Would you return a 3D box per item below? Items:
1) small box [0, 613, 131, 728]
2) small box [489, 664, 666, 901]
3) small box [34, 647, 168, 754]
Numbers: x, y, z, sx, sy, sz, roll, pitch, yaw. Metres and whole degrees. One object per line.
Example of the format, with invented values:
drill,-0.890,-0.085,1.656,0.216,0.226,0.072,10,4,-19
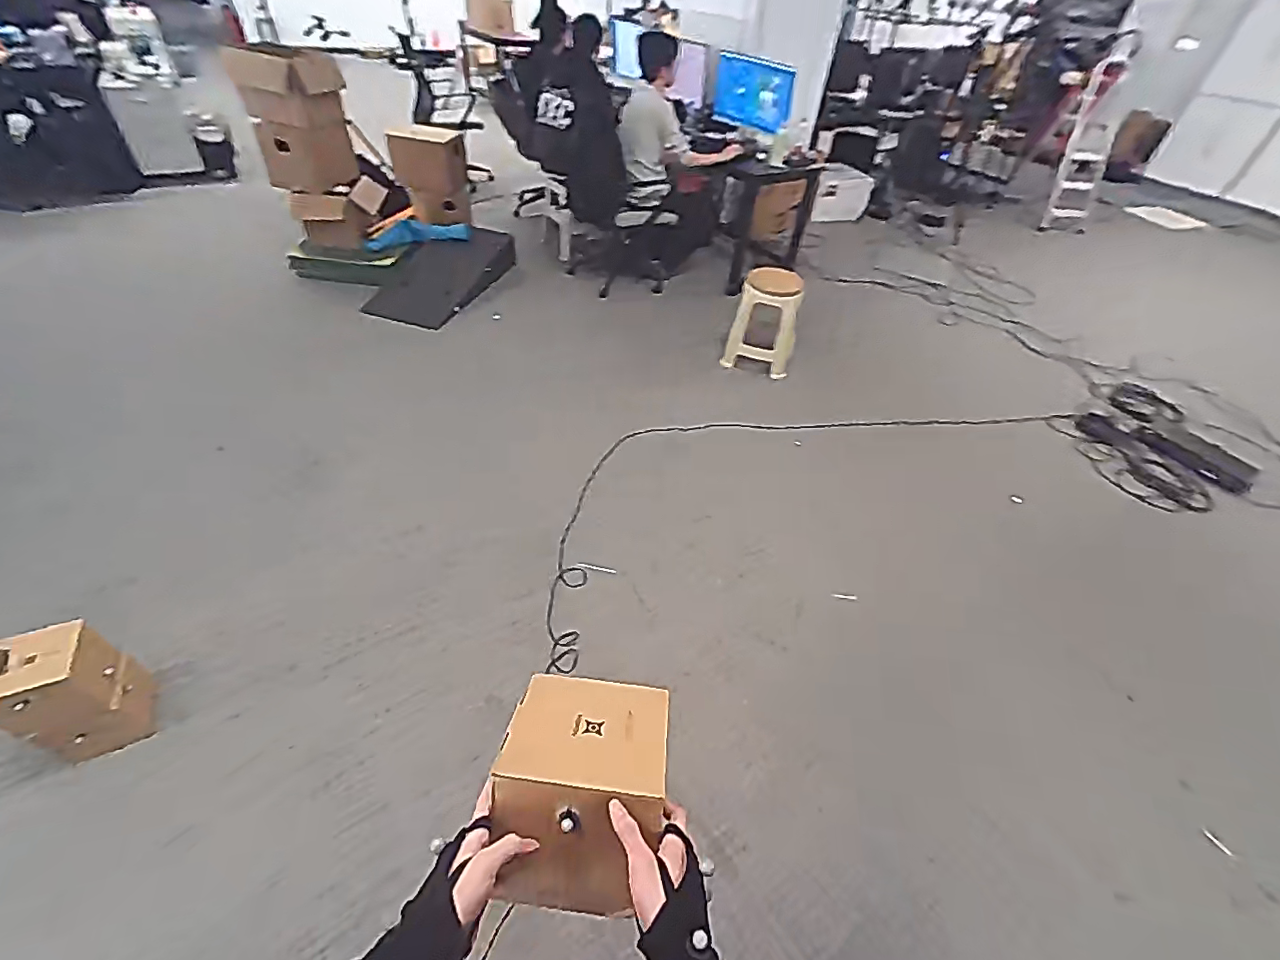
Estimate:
small box,-1.371,0.452,1.279,0.179,0.176,0.168,-14,47,-21
small box,-0.067,0.343,0.629,0.179,0.176,0.168,8,17,2
small box,-1.375,0.571,1.394,0.179,0.176,0.168,-16,47,-21
